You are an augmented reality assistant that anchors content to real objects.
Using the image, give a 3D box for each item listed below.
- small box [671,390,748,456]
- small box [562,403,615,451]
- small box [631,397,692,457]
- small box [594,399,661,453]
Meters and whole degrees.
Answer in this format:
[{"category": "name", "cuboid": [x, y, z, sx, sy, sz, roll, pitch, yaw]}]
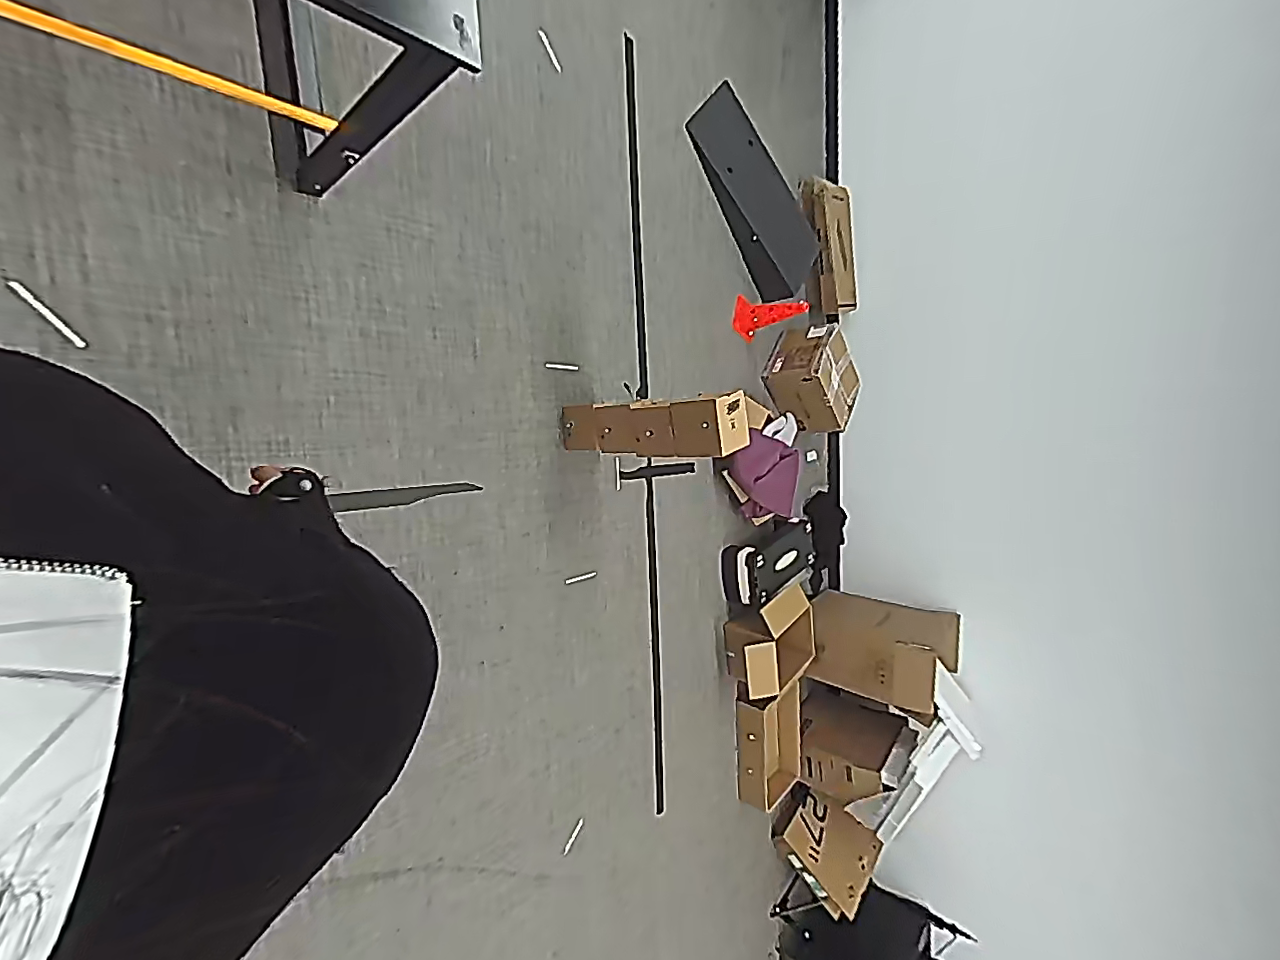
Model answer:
[{"category": "small box", "cuboid": [0.212, -0.173, 1.676, 0.168, 0.176, 0.179, -23, 109, -46]}, {"category": "small box", "cuboid": [-0.166, -0.197, 1.993, 0.179, 0.176, 0.168, -13, 100, -46]}, {"category": "small box", "cuboid": [0.086, -0.173, 1.783, 0.179, 0.176, 0.168, -22, 108, -46]}, {"category": "small box", "cuboid": [-0.034, -0.190, 1.893, 0.179, 0.176, 0.168, -20, 105, -46]}]
